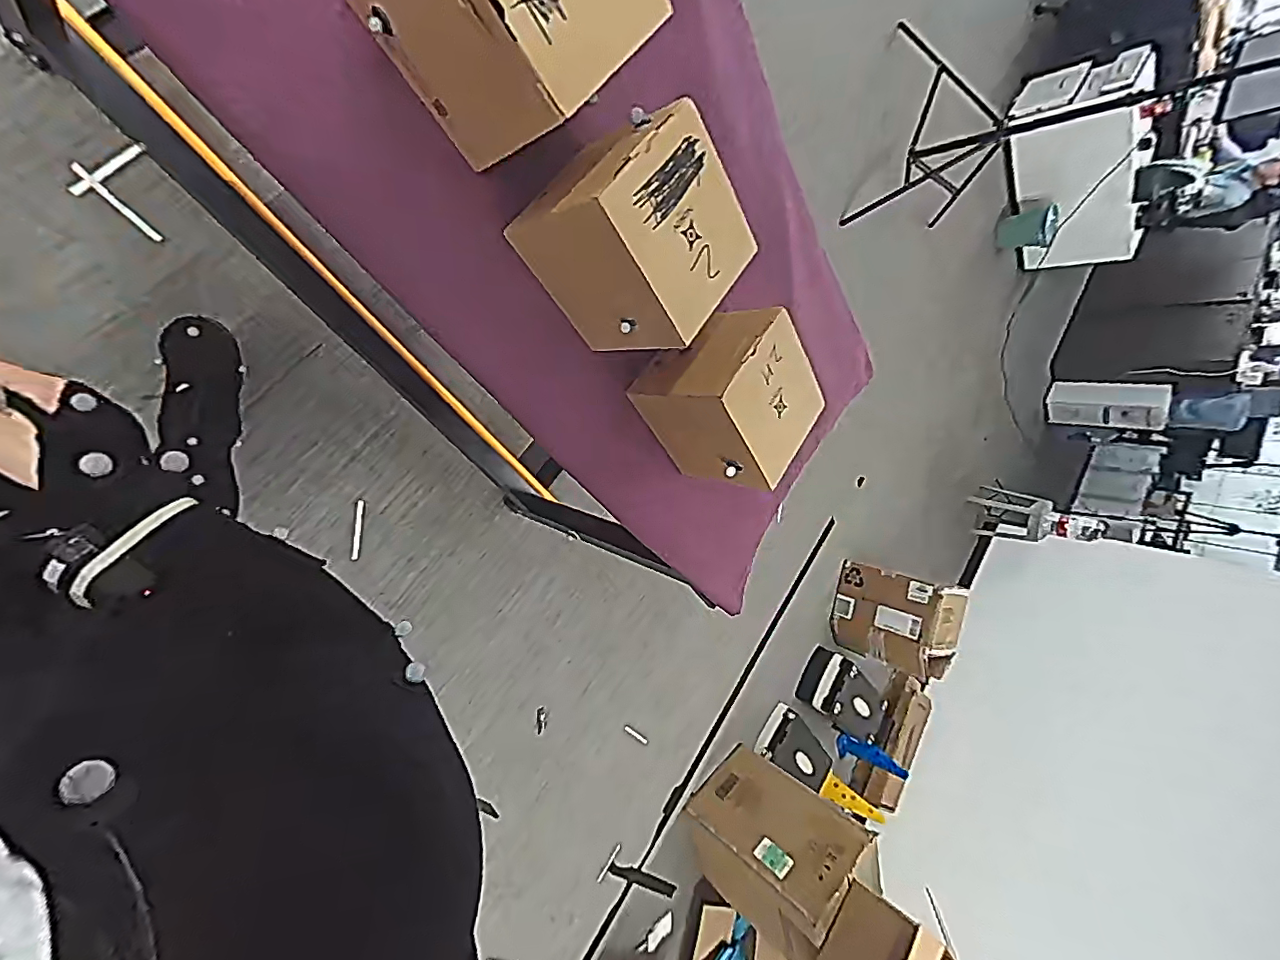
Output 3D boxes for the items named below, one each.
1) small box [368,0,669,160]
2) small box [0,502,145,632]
[{"bbox_3d":[-0.113,-0.425,0.480,0.179,0.176,0.168,-56,131,-19],"label":"small box"},{"bbox_3d":[-0.916,0.129,0.857,0.179,0.176,0.168,3,96,-47],"label":"small box"}]
